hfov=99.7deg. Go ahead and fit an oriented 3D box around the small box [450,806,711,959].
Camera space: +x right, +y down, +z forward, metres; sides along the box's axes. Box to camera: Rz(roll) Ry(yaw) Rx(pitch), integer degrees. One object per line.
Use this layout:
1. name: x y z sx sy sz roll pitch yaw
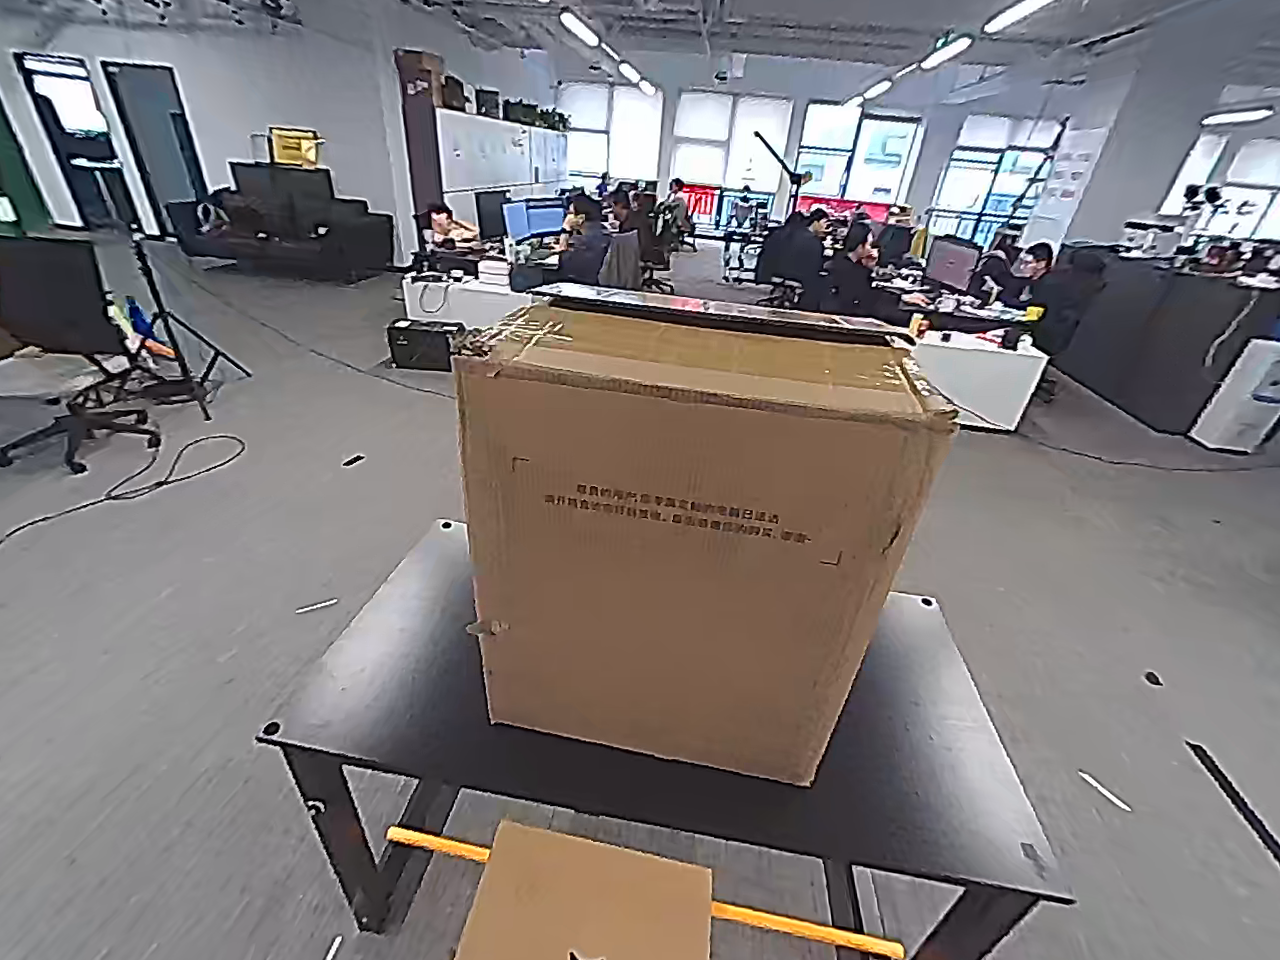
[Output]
1. small box: -0.052 0.377 0.383 0.168 0.176 0.179 12 35 2
